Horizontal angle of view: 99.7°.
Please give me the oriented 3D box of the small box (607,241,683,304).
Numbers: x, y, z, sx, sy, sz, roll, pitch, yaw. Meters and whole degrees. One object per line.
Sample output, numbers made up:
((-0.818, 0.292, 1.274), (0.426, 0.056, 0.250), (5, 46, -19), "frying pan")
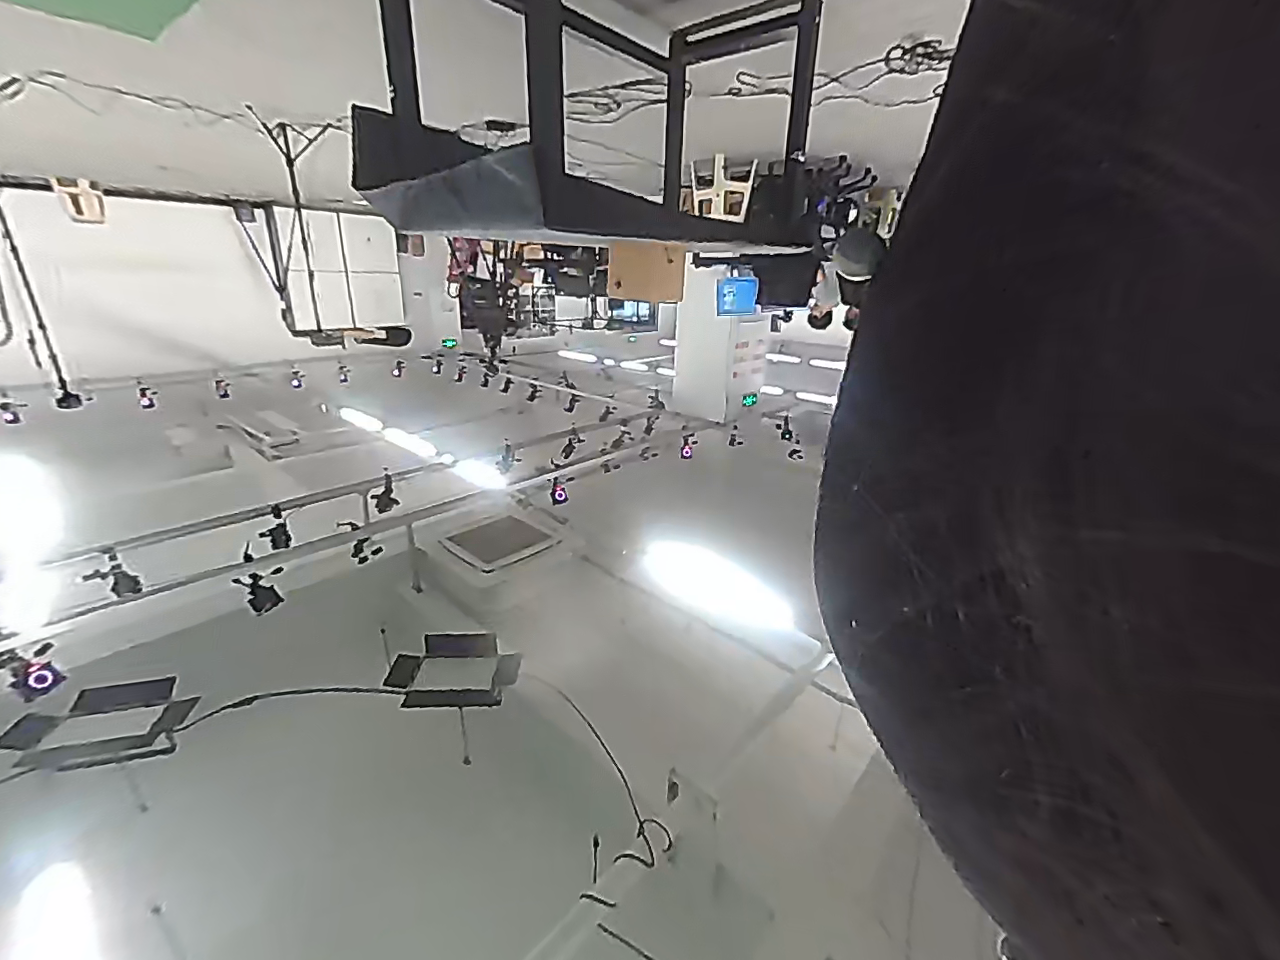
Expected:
((0.019, -0.633, 1.654), (0.179, 0.176, 0.168), (19, -152, 36), "small box")
